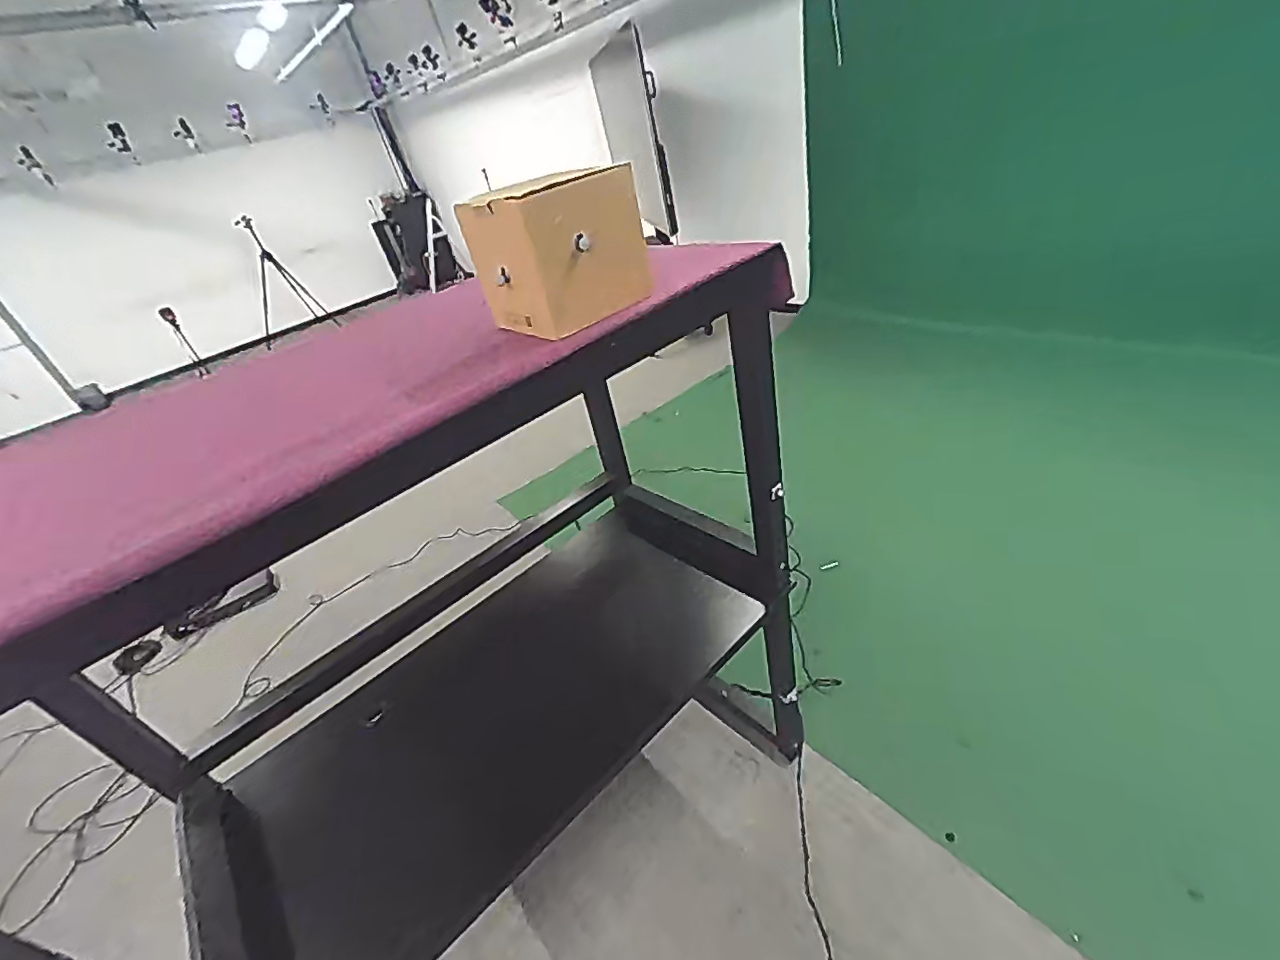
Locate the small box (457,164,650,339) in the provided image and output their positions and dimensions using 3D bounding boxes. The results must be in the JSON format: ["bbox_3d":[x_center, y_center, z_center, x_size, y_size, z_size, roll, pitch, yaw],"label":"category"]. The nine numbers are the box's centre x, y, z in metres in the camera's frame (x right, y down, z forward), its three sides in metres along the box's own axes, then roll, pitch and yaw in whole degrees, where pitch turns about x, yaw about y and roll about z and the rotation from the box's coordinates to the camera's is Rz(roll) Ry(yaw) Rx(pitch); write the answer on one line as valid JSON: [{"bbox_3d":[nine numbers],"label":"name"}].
[{"bbox_3d":[-0.108,-0.305,0.731,0.179,0.176,0.168,-36,40,-28],"label":"small box"}]
